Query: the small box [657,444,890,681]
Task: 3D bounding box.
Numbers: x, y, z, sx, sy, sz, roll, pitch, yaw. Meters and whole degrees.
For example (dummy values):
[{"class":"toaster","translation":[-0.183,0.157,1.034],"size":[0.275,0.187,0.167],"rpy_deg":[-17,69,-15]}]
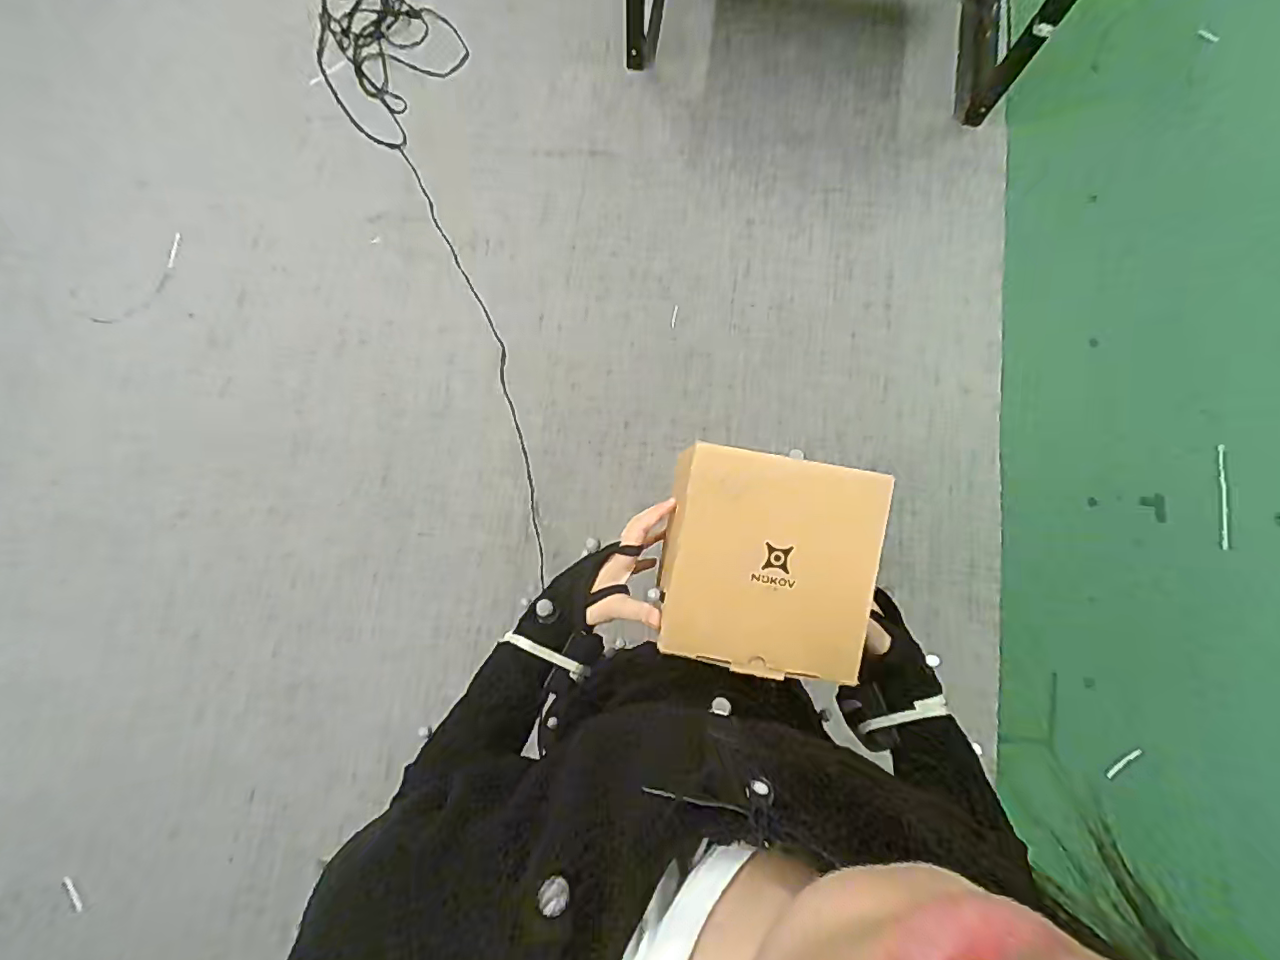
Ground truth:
[{"class":"small box","translation":[0.111,0.067,0.525],"size":[0.168,0.176,0.179],"rpy_deg":[10,91,-1]}]
